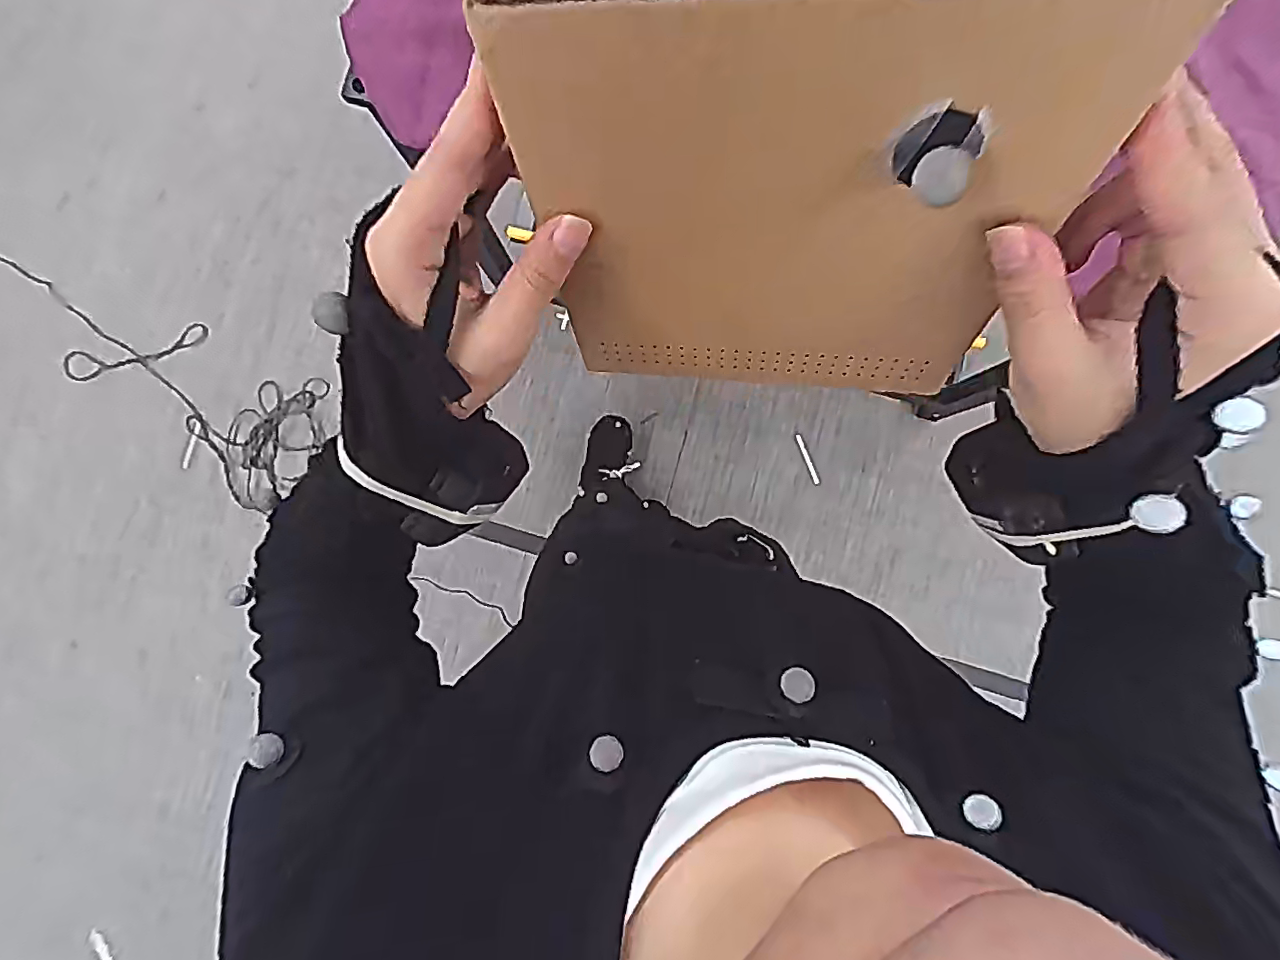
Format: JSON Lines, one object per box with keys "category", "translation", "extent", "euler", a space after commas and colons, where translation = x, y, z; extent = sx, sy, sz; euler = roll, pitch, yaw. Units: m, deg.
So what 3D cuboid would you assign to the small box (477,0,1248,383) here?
{"category": "small box", "translation": [0.064, -0.155, 0.223], "extent": [0.179, 0.176, 0.168], "euler": [5, 68, 9]}
